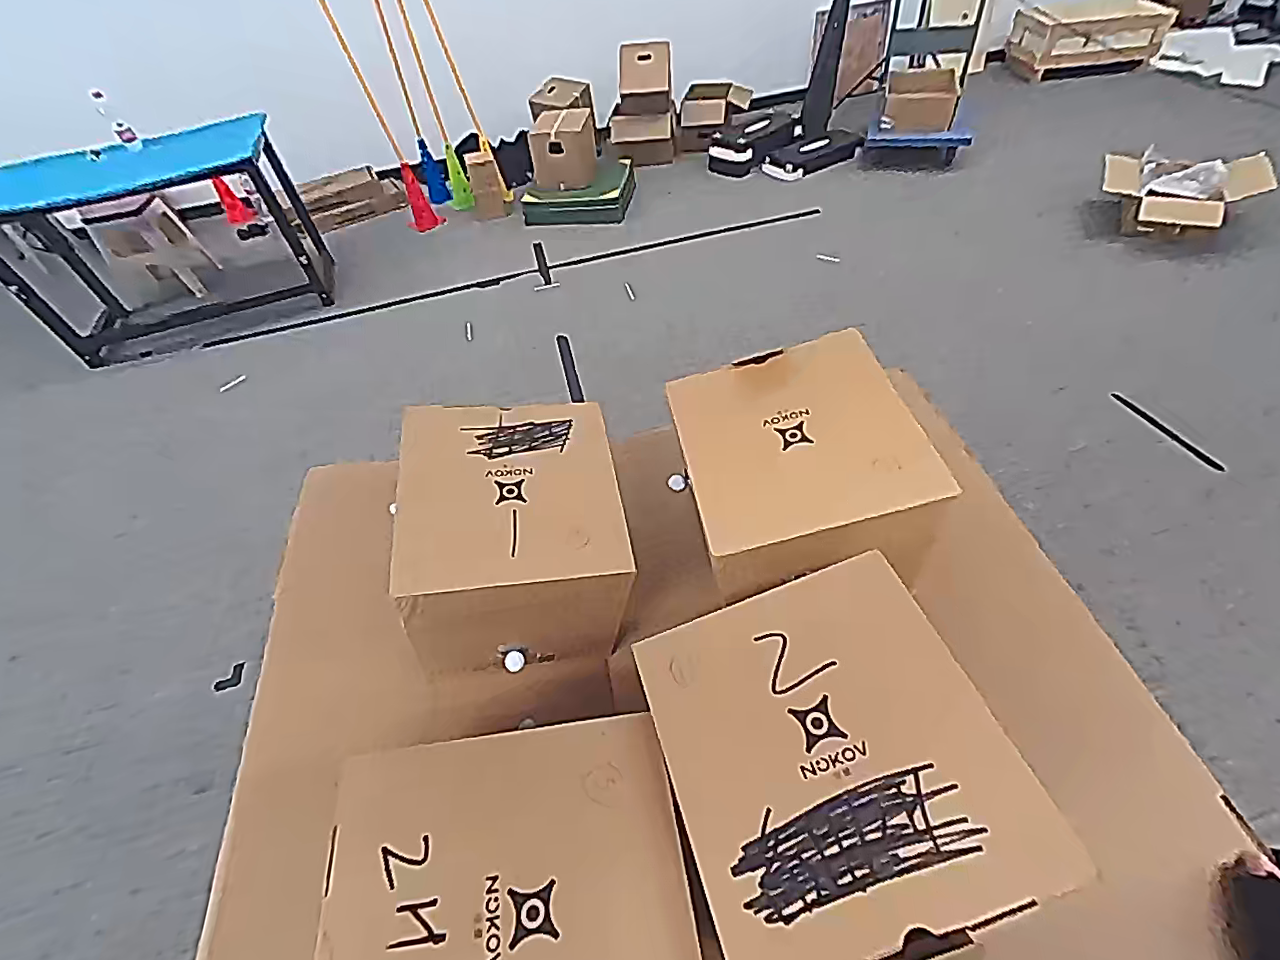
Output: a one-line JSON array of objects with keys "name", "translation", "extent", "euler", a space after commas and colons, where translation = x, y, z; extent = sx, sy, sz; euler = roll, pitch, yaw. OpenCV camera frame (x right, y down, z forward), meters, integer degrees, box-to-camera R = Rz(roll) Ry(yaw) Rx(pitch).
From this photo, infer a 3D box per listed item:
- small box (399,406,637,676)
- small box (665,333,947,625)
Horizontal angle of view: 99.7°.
[{"name": "small box", "translation": [-0.108, 0.053, 0.486], "extent": [0.168, 0.176, 0.179], "euler": [-4, 53, -13]}, {"name": "small box", "translation": [0.131, 0.010, 0.471], "extent": [0.168, 0.176, 0.179], "euler": [-15, 52, 5]}]
